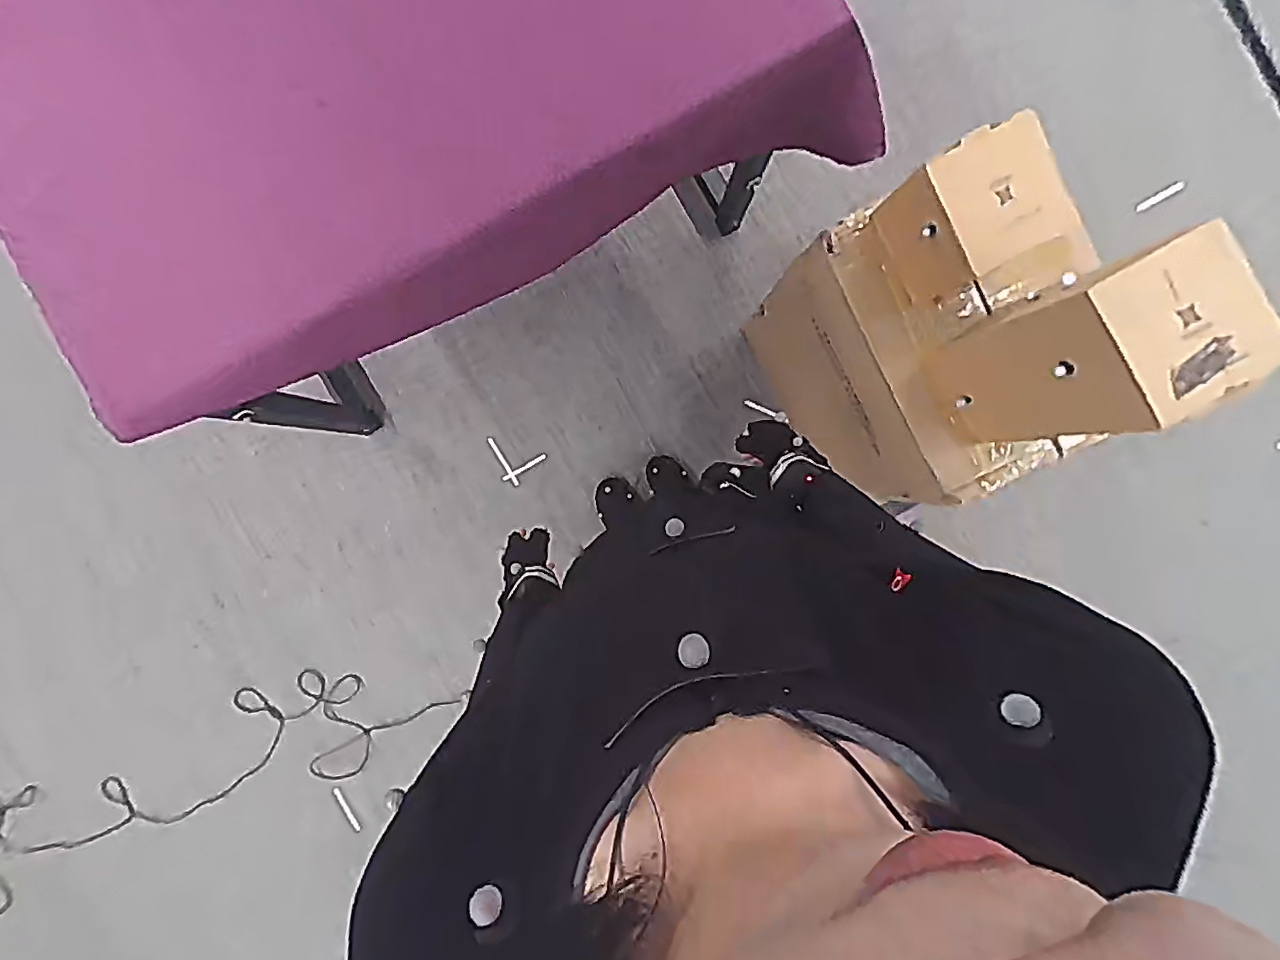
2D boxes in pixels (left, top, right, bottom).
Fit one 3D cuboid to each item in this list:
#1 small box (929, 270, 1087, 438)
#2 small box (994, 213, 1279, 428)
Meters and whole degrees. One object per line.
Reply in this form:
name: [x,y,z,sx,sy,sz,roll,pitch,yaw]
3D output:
small box: [0.590,-0.178,0.823,0.168,0.176,0.179,-35,91,1]
small box: [0.588,-0.174,0.658,0.168,0.176,0.179,-29,90,1]
